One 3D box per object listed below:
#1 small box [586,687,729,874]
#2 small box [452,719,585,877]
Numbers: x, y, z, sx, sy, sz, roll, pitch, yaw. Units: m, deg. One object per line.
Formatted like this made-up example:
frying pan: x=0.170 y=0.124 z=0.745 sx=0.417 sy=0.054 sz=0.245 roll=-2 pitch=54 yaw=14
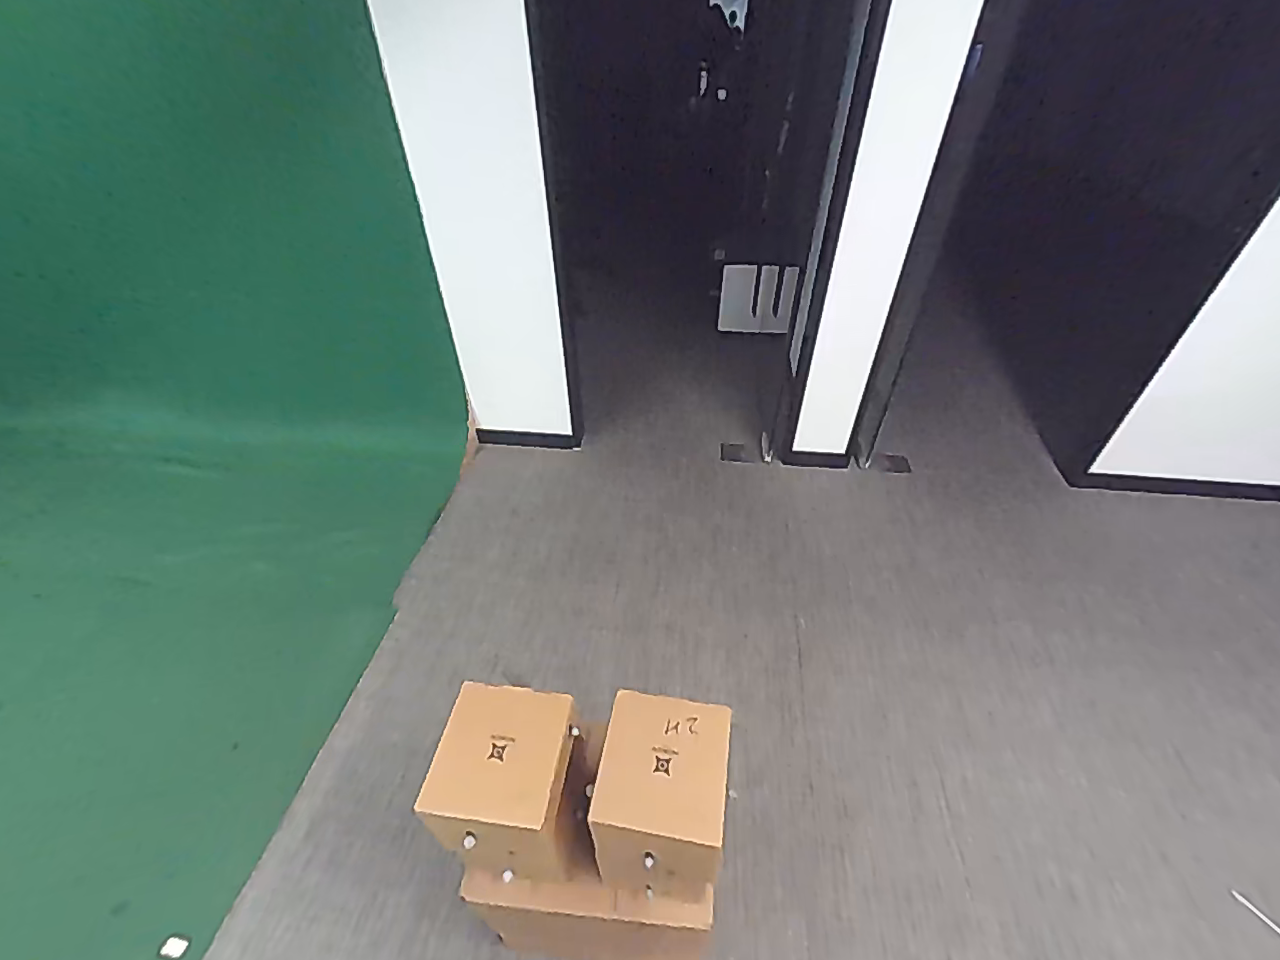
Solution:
small box: x=0.032 y=0.429 z=0.771 sx=0.168 sy=0.176 sz=0.179 roll=7 pitch=43 yaw=10
small box: x=-0.190 y=0.533 z=0.909 sx=0.168 sy=0.176 sz=0.179 roll=6 pitch=44 yaw=6
